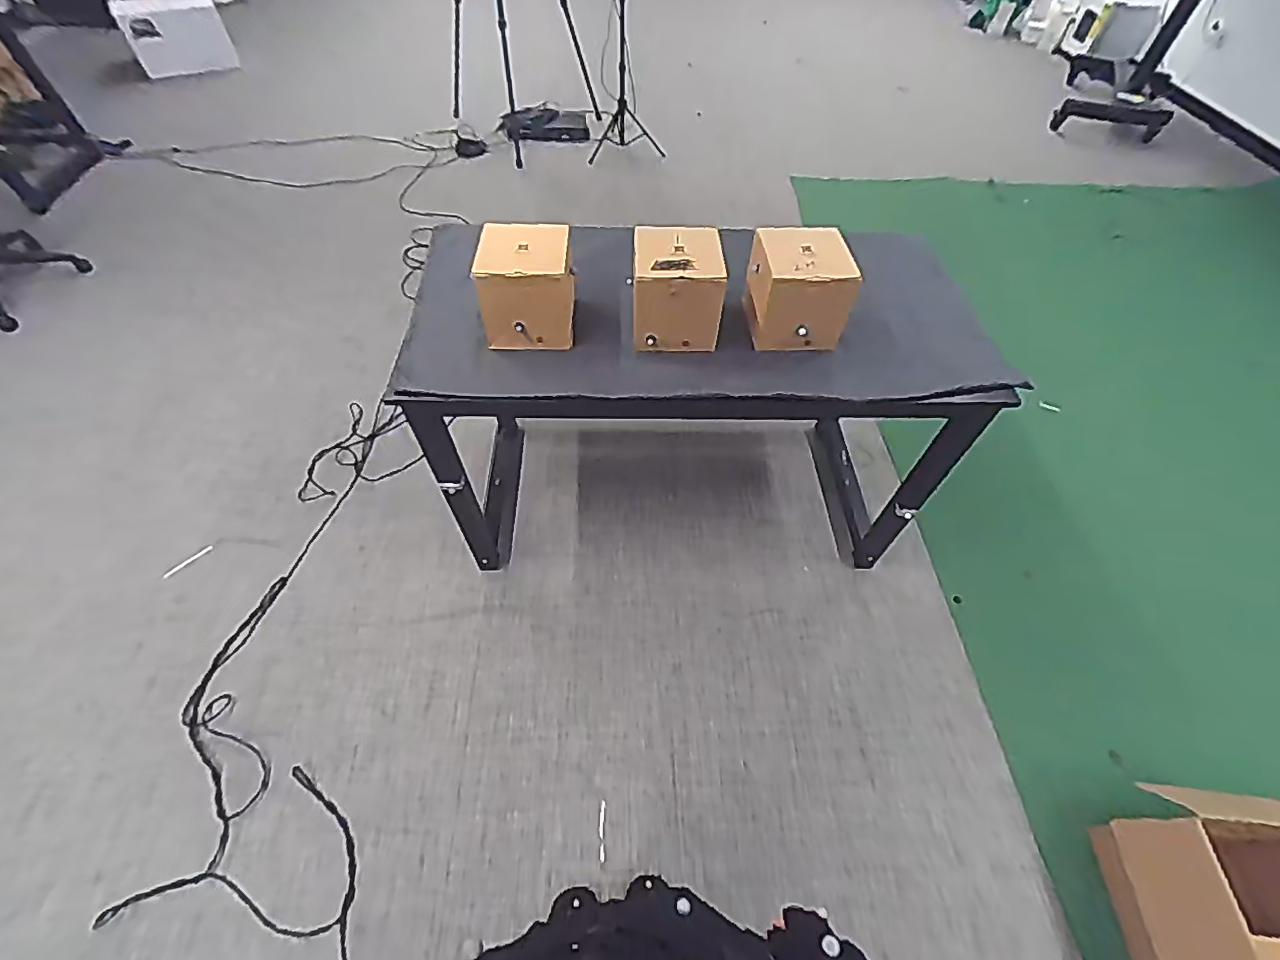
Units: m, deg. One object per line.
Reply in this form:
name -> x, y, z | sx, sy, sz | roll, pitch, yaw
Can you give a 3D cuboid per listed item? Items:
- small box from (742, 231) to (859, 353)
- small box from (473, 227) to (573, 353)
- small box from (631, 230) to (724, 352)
small box -> 0.310, -0.378, 1.089 | 0.168, 0.176, 0.179 | -2, 54, -3
small box -> -0.220, -0.373, 1.065 | 0.168, 0.176, 0.179 | -1, 53, -4
small box -> 0.068, -0.372, 1.076 | 0.168, 0.176, 0.179 | 0, 53, -2
